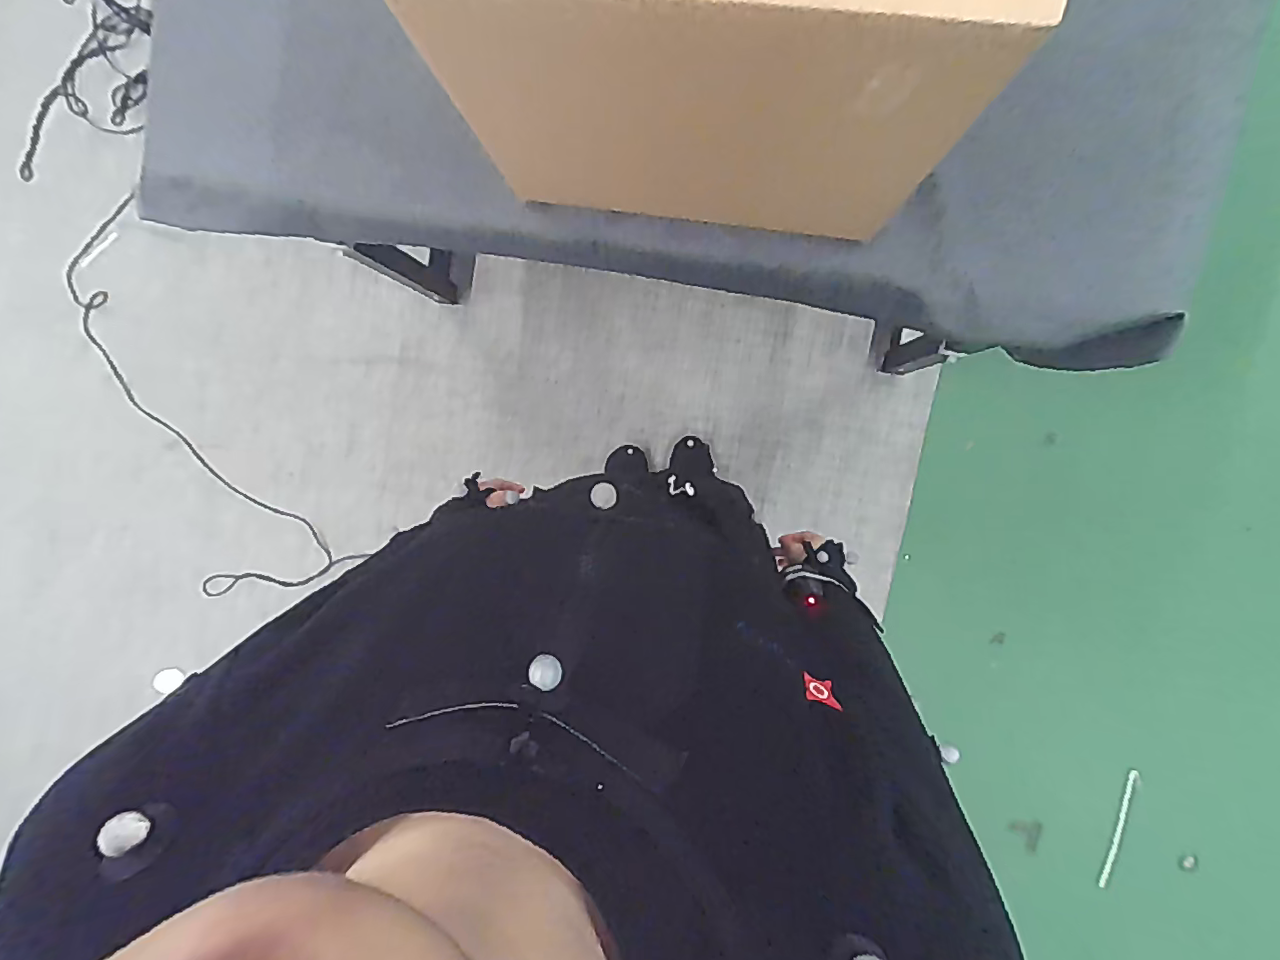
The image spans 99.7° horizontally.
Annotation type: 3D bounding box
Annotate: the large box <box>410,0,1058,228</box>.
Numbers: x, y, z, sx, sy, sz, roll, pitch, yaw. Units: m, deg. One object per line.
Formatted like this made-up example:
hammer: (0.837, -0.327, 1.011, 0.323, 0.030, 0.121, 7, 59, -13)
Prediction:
large box: (0.067, -0.443, 0.456, 0.408, 0.320, 0.320, 8, 95, 3)
